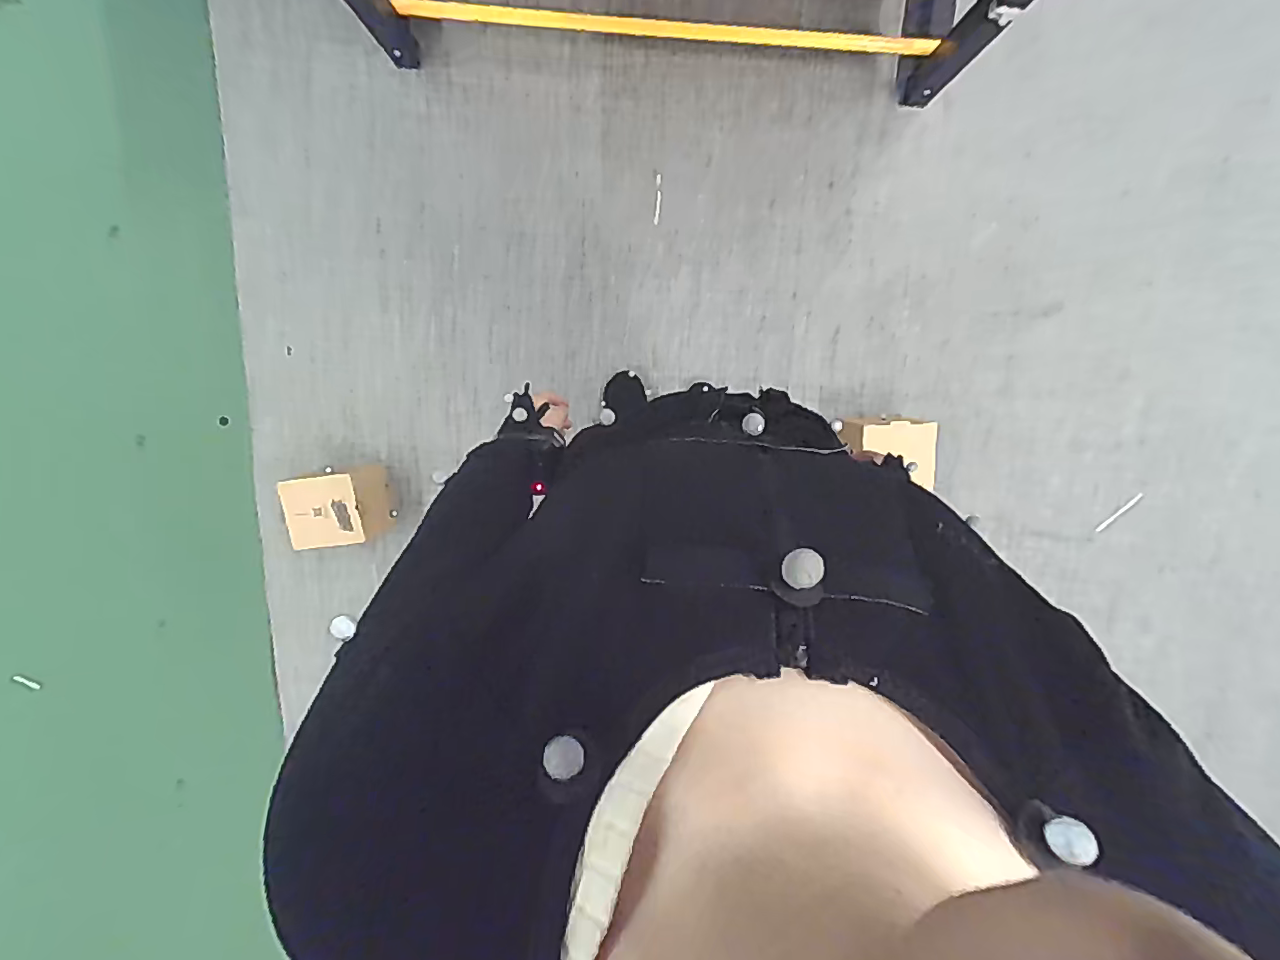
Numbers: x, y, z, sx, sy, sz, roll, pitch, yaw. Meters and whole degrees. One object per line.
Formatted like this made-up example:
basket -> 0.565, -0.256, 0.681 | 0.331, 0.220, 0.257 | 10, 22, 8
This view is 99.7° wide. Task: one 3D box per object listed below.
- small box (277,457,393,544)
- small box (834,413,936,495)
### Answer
small box -> -0.719, 0.044, 1.301 | 0.179, 0.176, 0.168 | -7, 101, 2
small box -> 0.569, -0.068, 1.274 | 0.168, 0.176, 0.179 | -2, 100, 1
